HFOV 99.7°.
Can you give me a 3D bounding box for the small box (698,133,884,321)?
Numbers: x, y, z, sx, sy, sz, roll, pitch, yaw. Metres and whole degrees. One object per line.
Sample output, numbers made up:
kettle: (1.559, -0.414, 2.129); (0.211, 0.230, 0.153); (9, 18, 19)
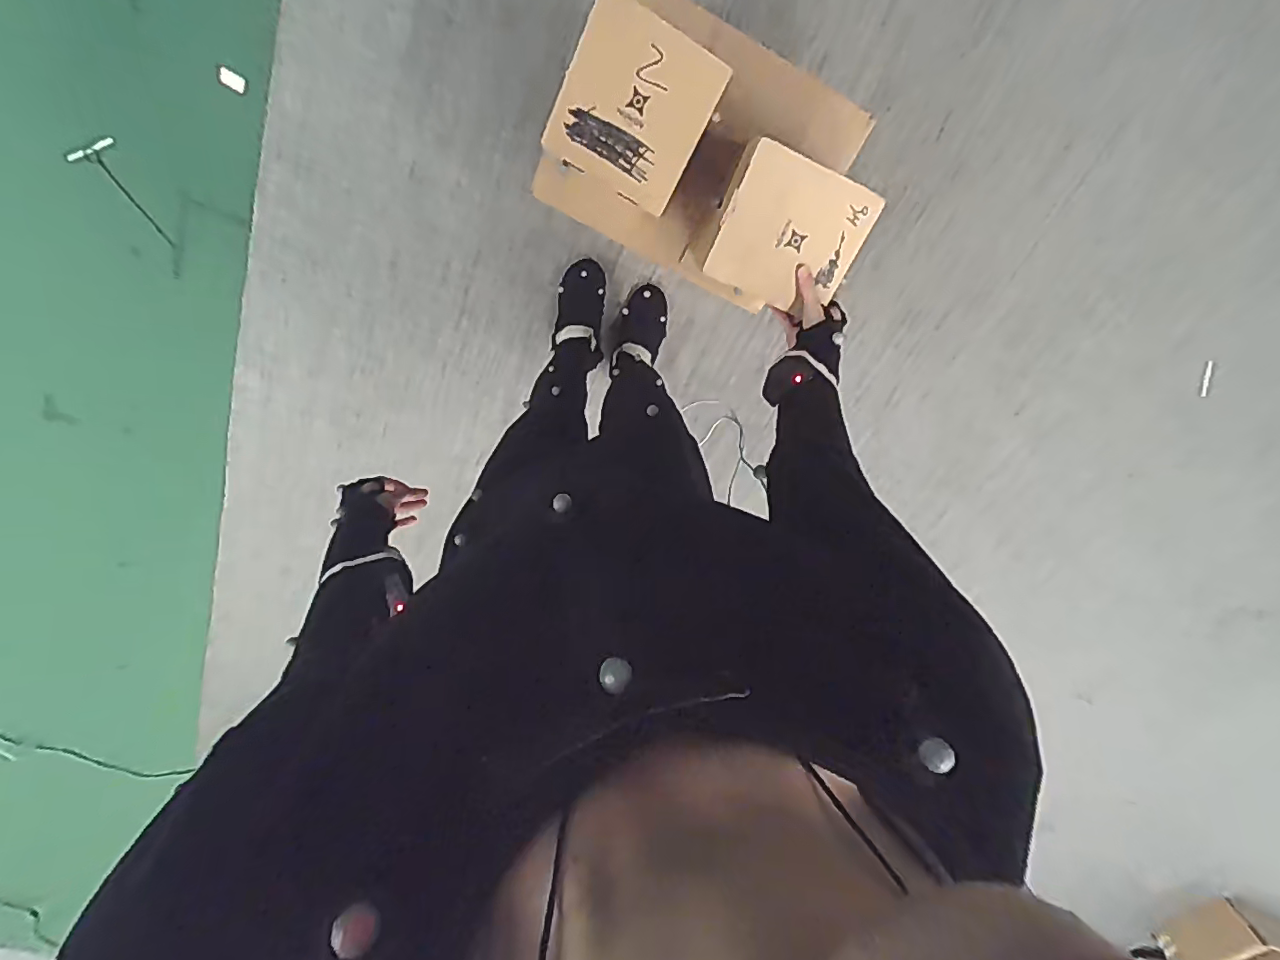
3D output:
small box: (0.189, -0.345, 0.743); (0.179, 0.176, 0.168); (22, 119, -9)
